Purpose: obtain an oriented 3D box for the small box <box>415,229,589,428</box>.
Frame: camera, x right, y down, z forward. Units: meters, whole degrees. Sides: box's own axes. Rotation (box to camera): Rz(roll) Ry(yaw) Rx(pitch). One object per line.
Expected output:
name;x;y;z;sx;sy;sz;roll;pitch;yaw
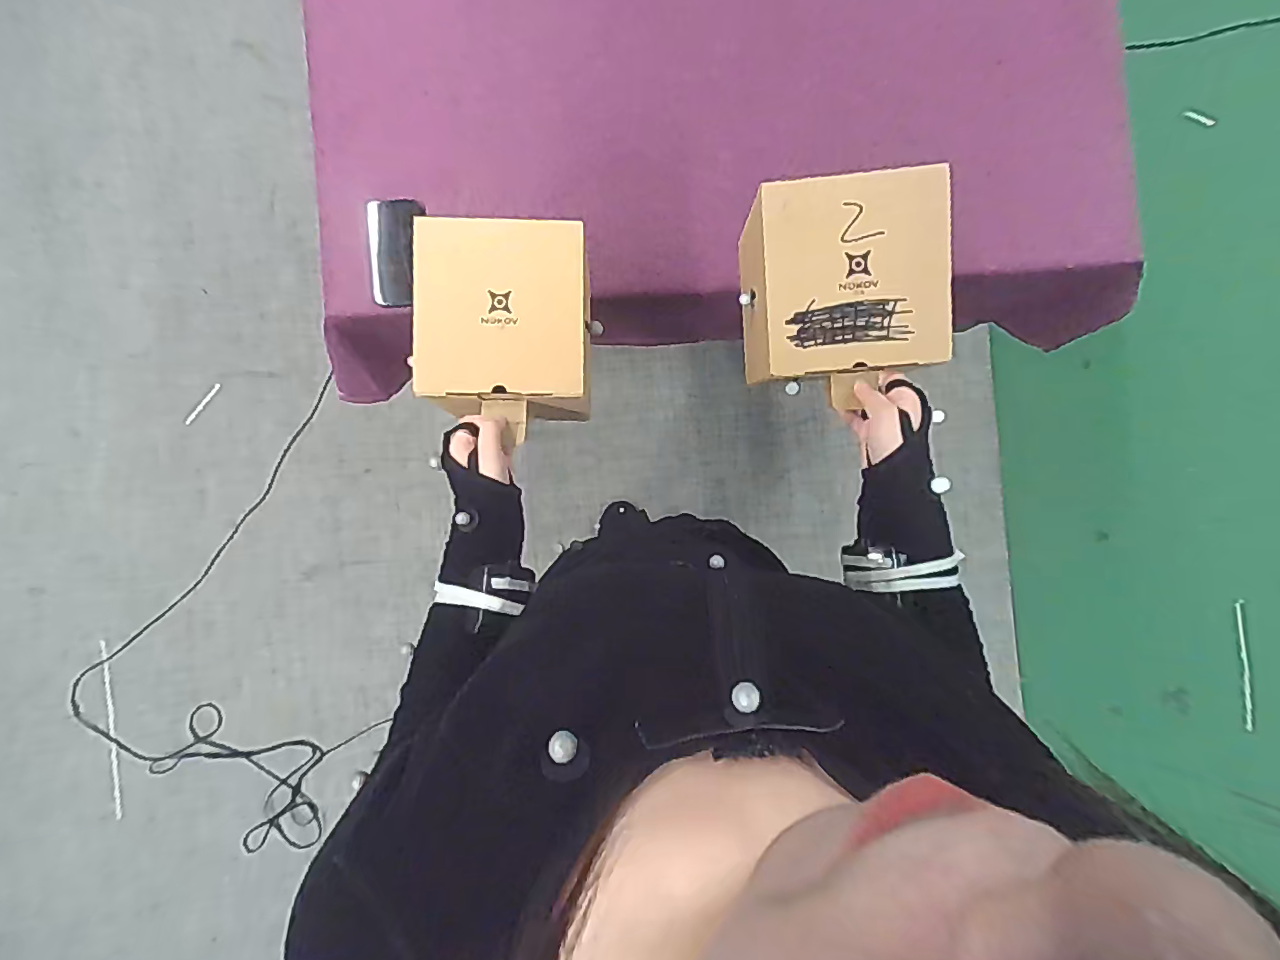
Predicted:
small box;-0.144;-0.159;0.617;0.168;0.176;0.179;0;88;-4
